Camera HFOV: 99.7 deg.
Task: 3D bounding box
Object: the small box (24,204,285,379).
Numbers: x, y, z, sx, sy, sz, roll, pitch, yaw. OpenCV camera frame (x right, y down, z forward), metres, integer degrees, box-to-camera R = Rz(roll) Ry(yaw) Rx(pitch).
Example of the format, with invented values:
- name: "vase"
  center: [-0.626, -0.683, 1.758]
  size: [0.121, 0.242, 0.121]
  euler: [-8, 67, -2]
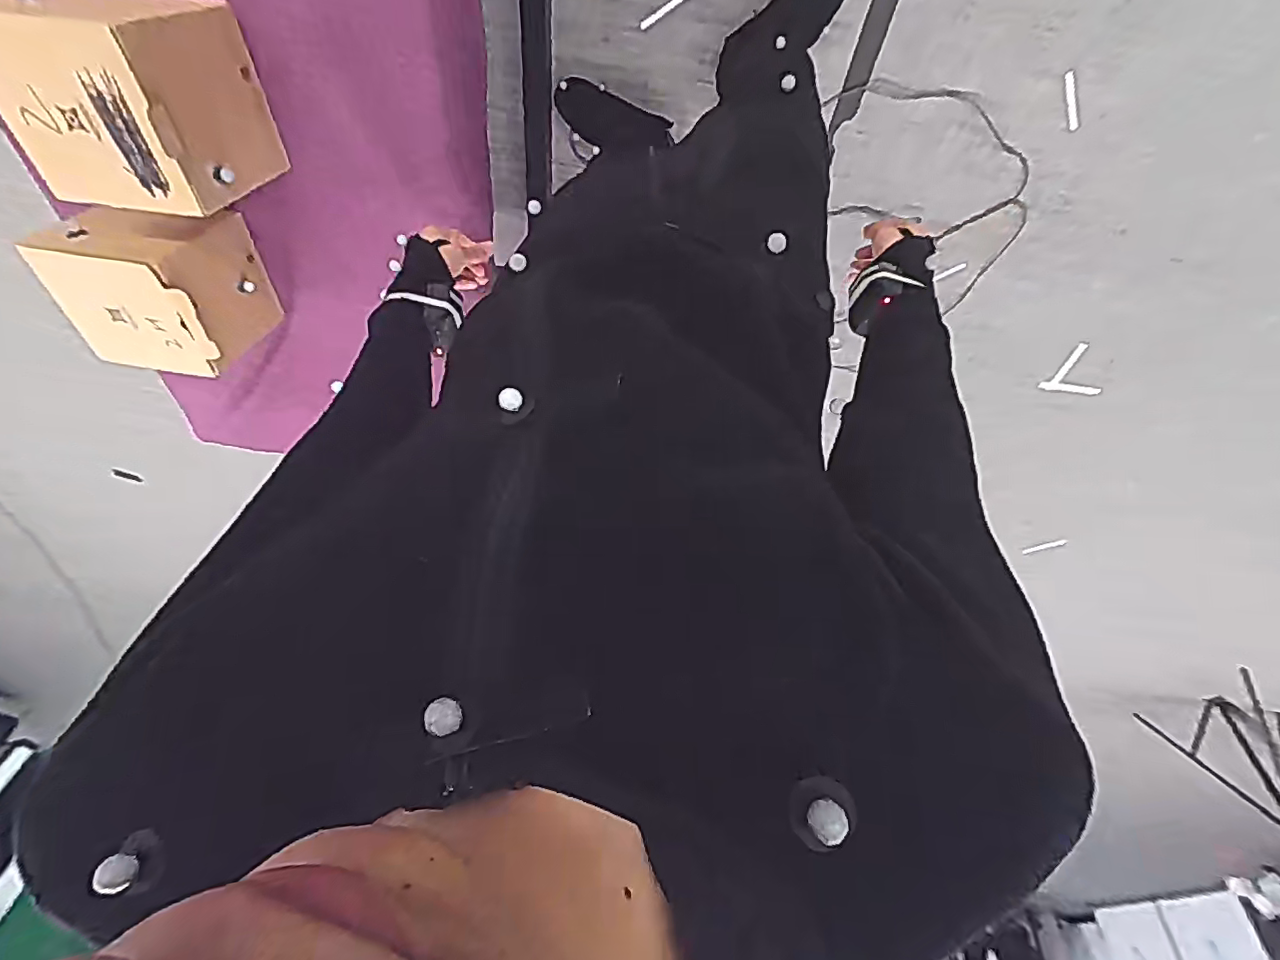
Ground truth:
- name: "small box"
  center: [-0.653, -0.268, 0.759]
  size: [0.179, 0.176, 0.168]
  euler: [8, 137, 1]
